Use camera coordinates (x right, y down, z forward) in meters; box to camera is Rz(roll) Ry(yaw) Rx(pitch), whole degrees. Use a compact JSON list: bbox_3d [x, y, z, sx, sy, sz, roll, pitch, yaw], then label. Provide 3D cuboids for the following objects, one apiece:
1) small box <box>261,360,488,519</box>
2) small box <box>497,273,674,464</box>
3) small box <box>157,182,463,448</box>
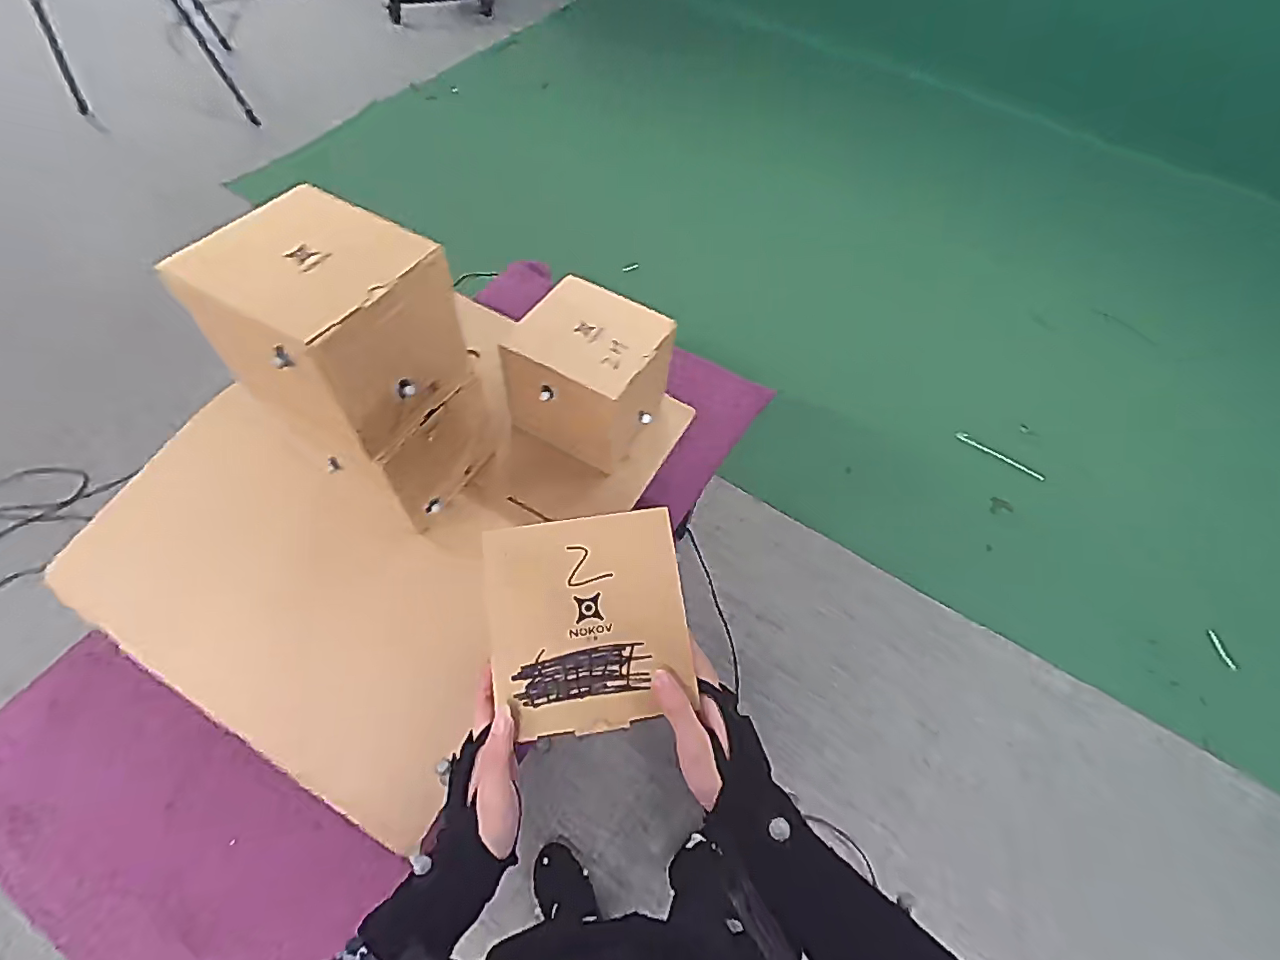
[{"bbox_3d":[-0.317,-0.073,0.688,0.179,0.176,0.168,27,58,12],"label":"small box"},{"bbox_3d":[-0.074,-0.151,0.763,0.179,0.176,0.168,28,60,11],"label":"small box"},{"bbox_3d":[-0.310,-0.161,0.552,0.179,0.176,0.168,27,58,10],"label":"small box"}]
